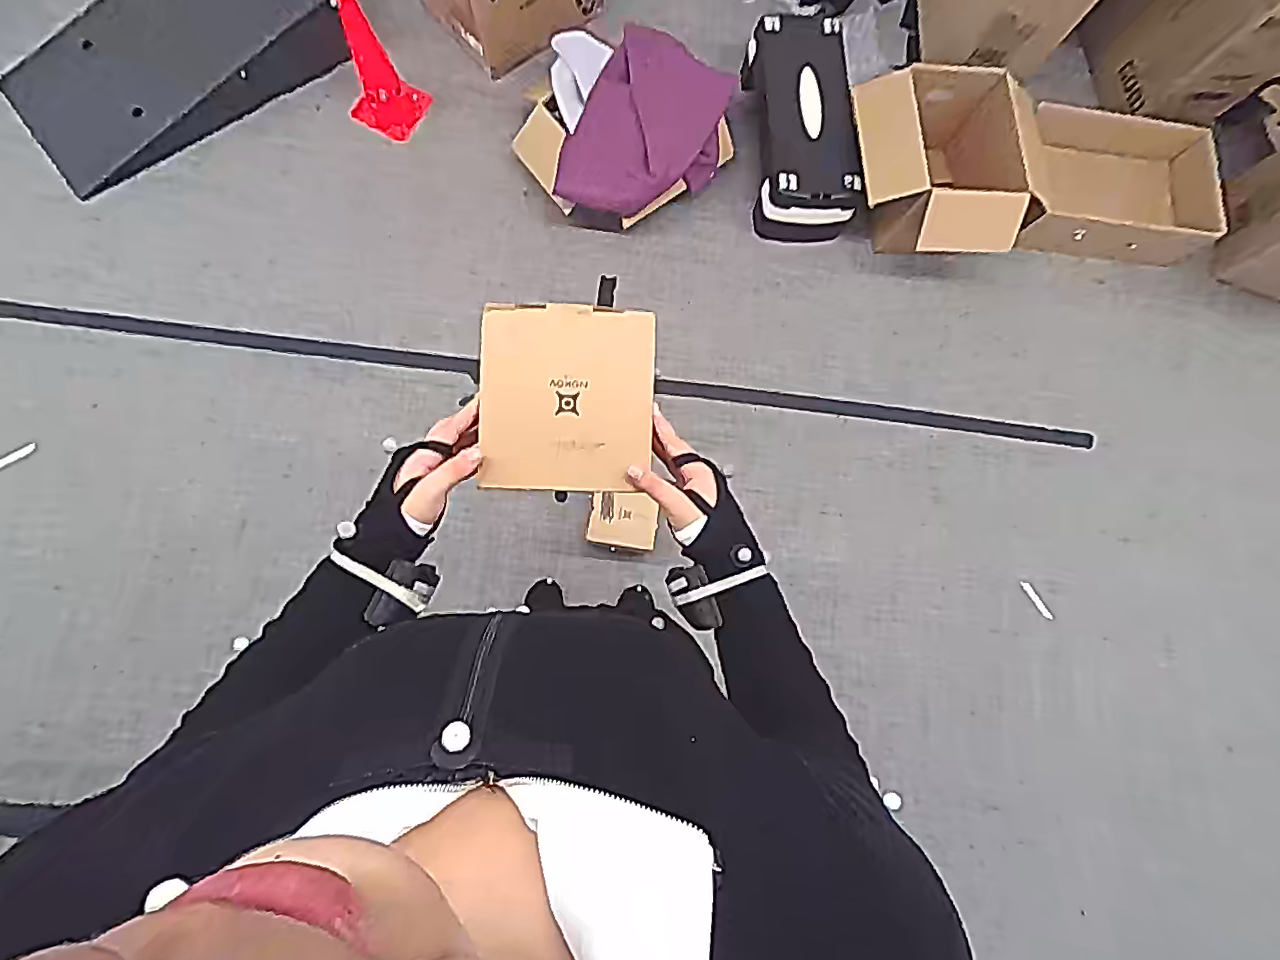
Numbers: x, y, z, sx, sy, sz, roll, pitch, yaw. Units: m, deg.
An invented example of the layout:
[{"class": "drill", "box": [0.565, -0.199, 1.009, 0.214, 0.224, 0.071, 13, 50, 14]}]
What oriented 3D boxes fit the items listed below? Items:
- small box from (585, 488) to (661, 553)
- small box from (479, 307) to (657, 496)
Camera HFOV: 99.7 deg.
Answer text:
[{"class": "small box", "box": [-0.050, 0.105, 1.470, 0.179, 0.176, 0.168, 10, 79, -4]}, {"class": "small box", "box": [-0.075, -0.074, 0.594, 0.168, 0.176, 0.179, 2, 91, -4]}]
